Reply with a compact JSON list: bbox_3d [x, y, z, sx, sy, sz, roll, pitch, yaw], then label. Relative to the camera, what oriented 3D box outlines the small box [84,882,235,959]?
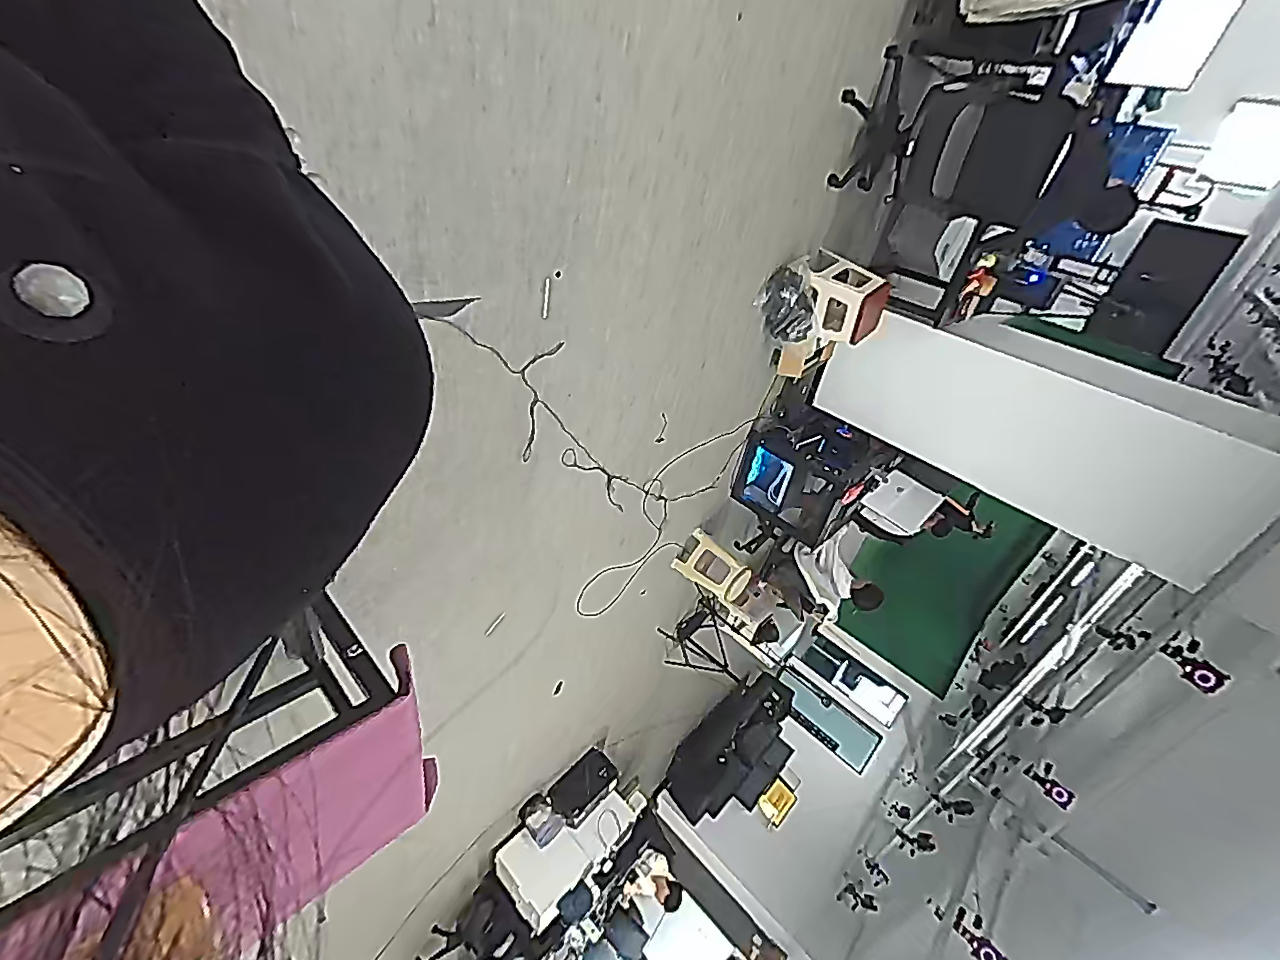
[{"bbox_3d":[-0.871,0.891,0.992,0.168,0.176,0.179,-23,139,-42],"label":"small box"}]
